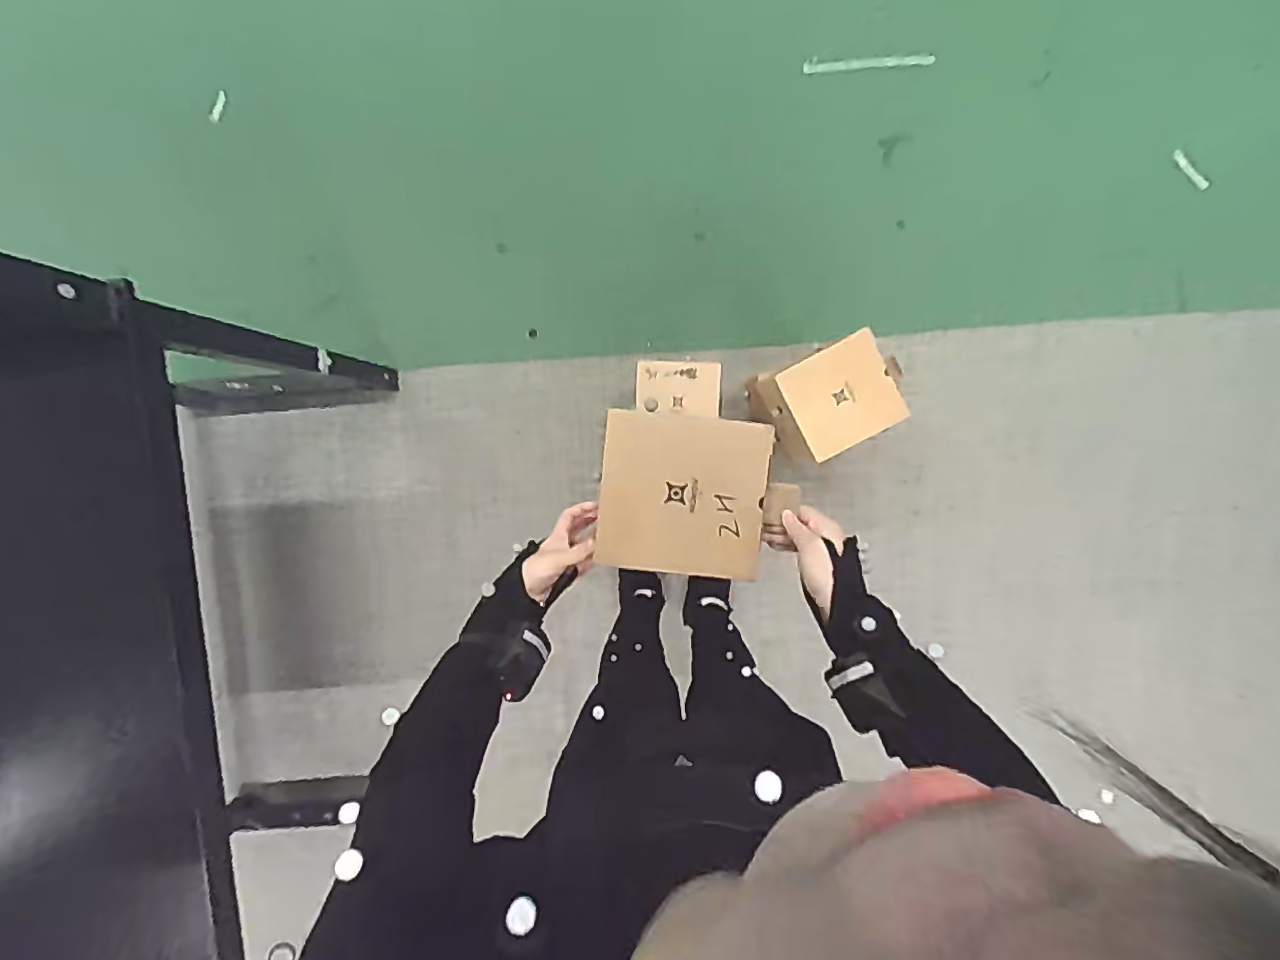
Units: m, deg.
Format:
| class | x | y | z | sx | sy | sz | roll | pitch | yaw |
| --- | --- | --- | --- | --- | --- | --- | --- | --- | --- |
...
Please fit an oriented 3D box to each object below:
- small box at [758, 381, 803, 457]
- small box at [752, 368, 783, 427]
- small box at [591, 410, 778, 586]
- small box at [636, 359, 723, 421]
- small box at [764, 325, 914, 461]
| class | x | y | z | sx | sy | sz | roll | pitch | yaw |
| --- | --- | --- | --- | --- | --- | --- | --- | --- | --- |
| small box | 0.356 | -0.156 | 1.118 | 0.179 | 0.176 | 0.168 | -24 | 95 | 3 |
| small box | 0.369 | -0.180 | 1.278 | 0.179 | 0.176 | 0.168 | -11 | 95 | 2 |
| small box | 0.044 | 0.014 | 0.623 | 0.179 | 0.176 | 0.168 | 5 | 95 | -1 |
| small box | 0.078 | -0.150 | 1.126 | 0.168 | 0.176 | 0.179 | 3 | 95 | 2 |
| small box | 0.335 | -0.146 | 0.956 | 0.179 | 0.176 | 0.168 | -28 | 94 | 3 |
